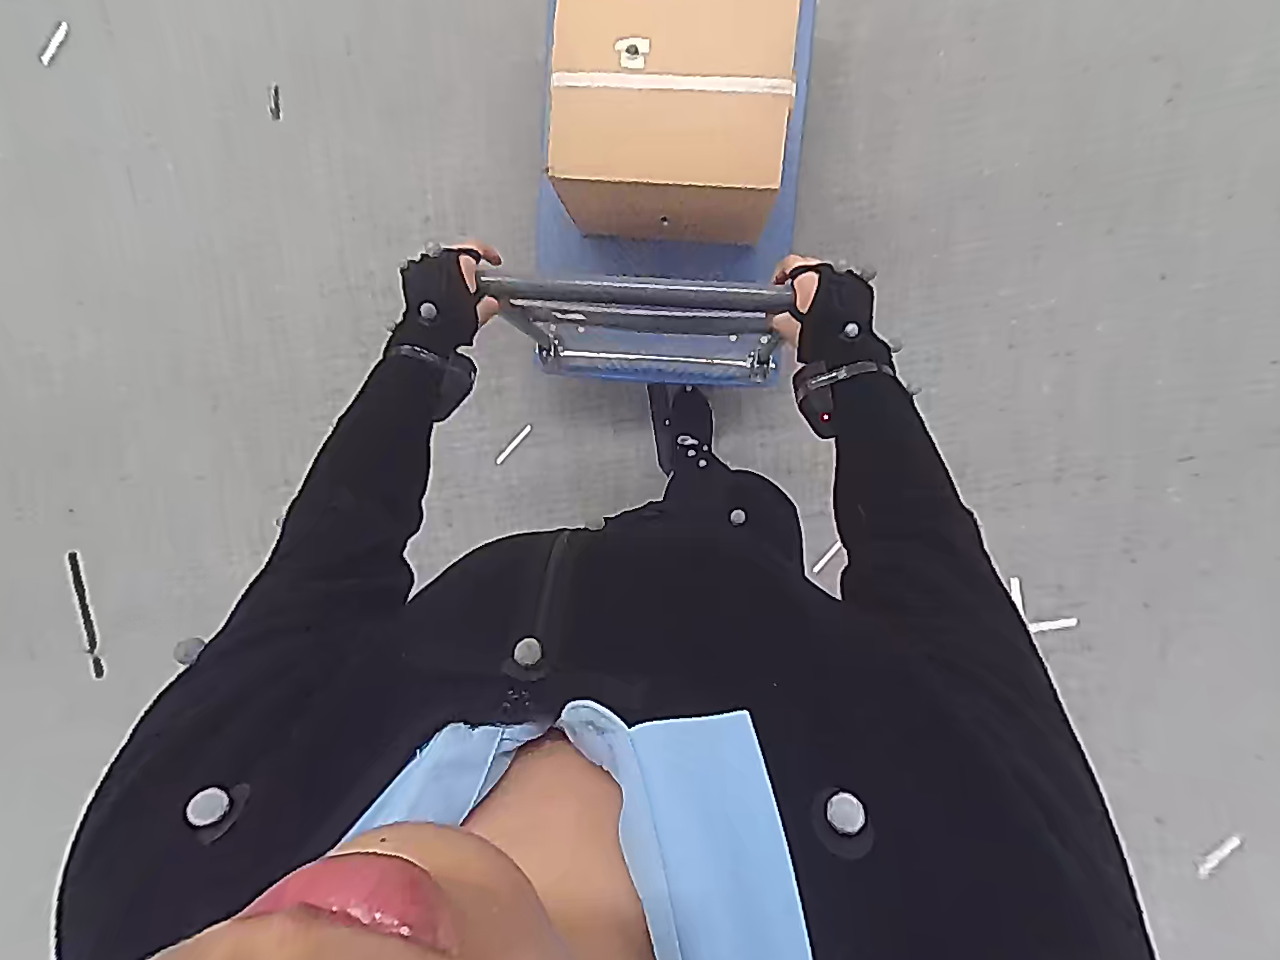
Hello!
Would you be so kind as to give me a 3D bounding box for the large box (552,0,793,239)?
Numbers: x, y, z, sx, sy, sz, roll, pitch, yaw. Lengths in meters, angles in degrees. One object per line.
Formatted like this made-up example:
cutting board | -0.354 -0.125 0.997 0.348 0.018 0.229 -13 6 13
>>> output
large box | 0.065 -0.688 1.073 0.408 0.320 0.320 5 96 5
